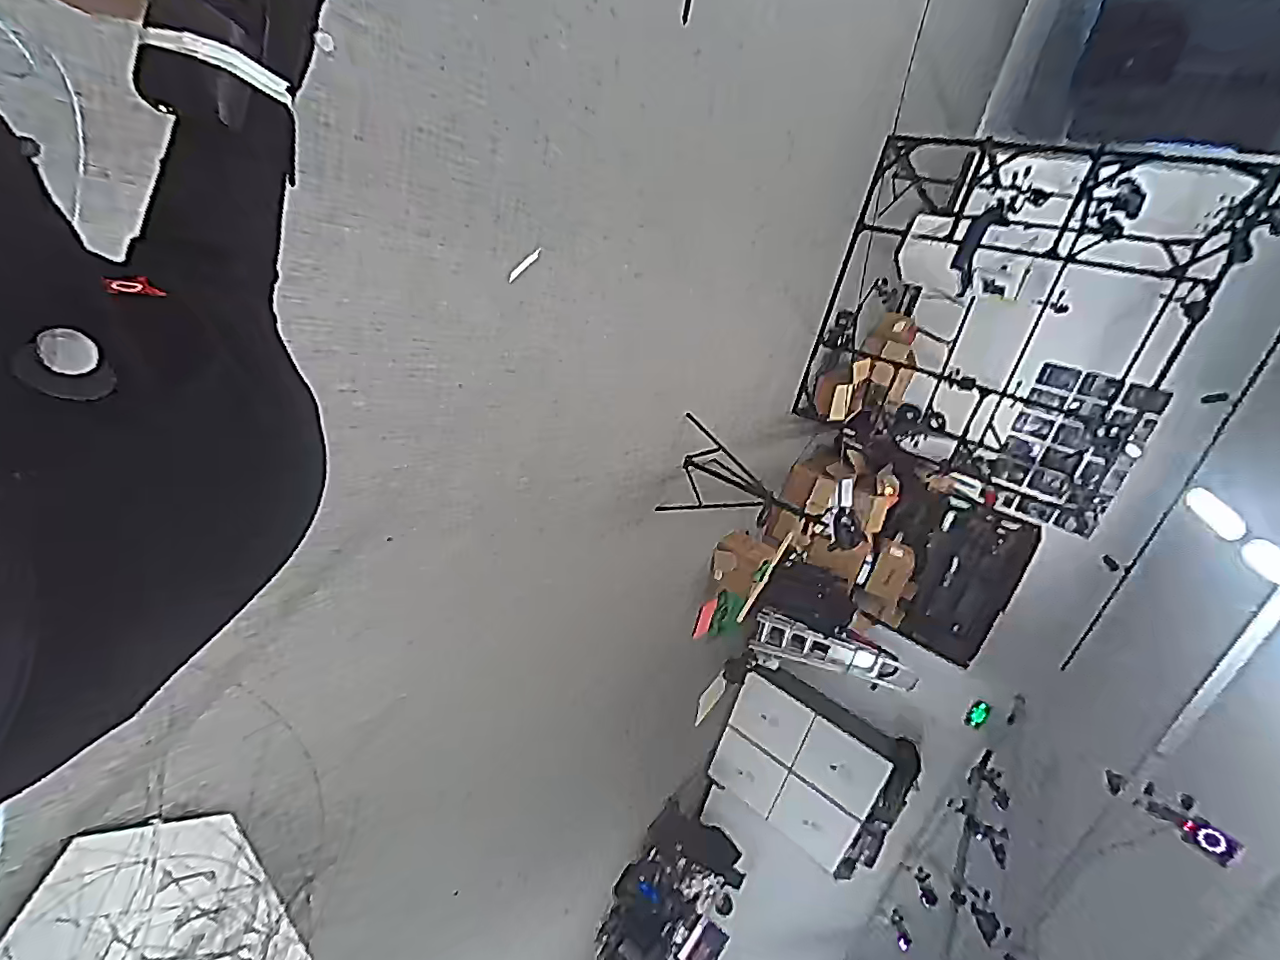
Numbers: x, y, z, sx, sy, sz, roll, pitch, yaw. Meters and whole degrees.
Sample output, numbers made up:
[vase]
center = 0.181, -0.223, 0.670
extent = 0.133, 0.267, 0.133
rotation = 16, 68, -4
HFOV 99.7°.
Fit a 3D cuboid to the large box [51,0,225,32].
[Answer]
[large box]
center = -0.458, -0.497, 0.233
extent = 0.408, 0.320, 0.320
rotation = -3, 120, -58
